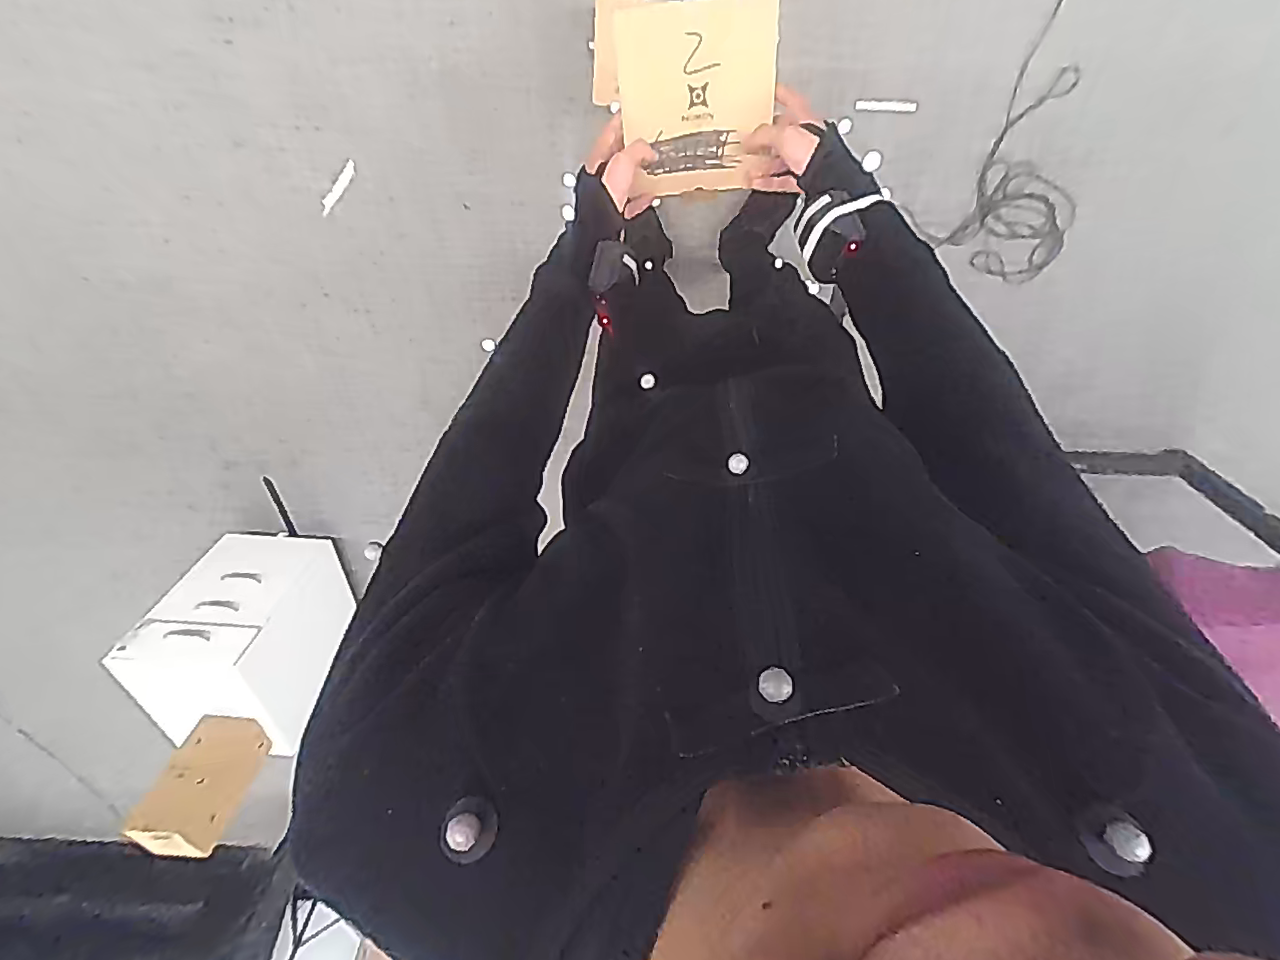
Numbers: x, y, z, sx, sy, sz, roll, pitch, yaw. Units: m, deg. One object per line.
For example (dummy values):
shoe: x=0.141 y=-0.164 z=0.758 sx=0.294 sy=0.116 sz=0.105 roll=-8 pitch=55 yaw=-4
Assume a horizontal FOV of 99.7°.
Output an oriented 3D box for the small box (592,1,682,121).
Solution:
small box: x=-0.008 y=-0.864 z=1.126 sx=0.168 sy=0.176 sz=0.179 roll=6 pitch=126 yaw=-1

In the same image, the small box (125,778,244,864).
small box: x=-1.315 y=0.992 z=1.578 sx=0.168 sy=0.176 sz=0.179 roll=2 pitch=128 yaw=3

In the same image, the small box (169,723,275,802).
small box: x=-1.309 y=0.890 z=1.706 sx=0.179 sy=0.176 sz=0.168 roll=4 pitch=126 yaw=0
